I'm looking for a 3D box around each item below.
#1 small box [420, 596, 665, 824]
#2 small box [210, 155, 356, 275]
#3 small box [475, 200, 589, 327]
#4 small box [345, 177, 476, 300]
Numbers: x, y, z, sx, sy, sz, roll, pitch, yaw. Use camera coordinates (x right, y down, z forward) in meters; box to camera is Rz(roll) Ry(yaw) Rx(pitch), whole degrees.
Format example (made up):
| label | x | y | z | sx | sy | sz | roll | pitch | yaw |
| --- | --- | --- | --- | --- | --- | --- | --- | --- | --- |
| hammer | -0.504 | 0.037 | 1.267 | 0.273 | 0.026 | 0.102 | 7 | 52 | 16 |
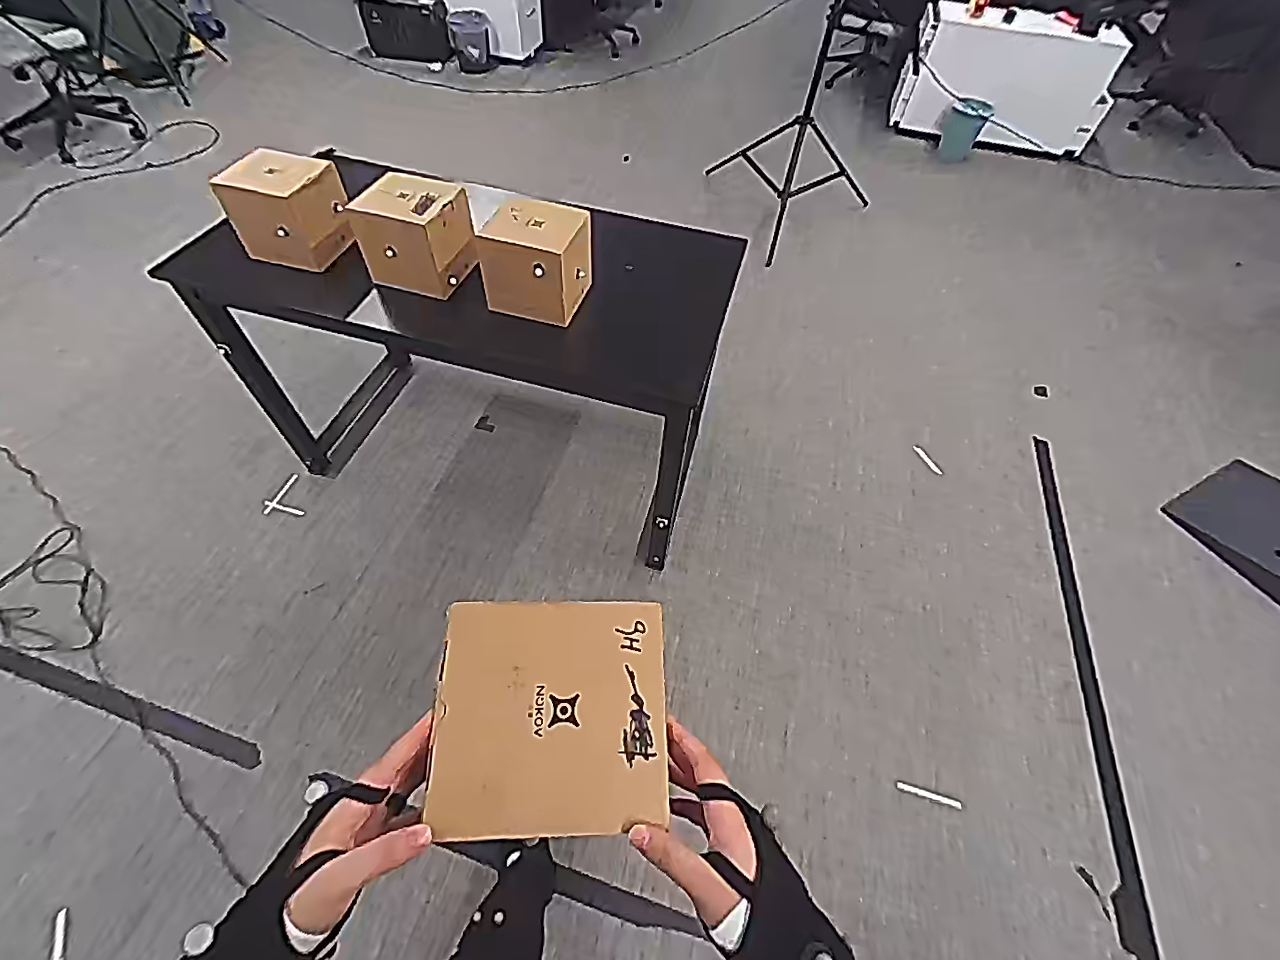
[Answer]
| label | x | y | z | sx | sy | sz | roll | pitch | yaw |
| --- | --- | --- | --- | --- | --- | --- | --- | --- | --- |
| small box | -0.075 | 0.207 | 0.489 | 0.179 | 0.176 | 0.168 | 1 | 63 | -5 |
| small box | -0.757 | -0.571 | 1.175 | 0.179 | 0.176 | 0.168 | 12 | 53 | 6 |
| small box | -0.211 | -0.440 | 1.113 | 0.179 | 0.176 | 0.168 | 14 | 54 | 7 |
| small box | -0.471 | -0.506 | 1.145 | 0.179 | 0.176 | 0.168 | 15 | 54 | 8 |
